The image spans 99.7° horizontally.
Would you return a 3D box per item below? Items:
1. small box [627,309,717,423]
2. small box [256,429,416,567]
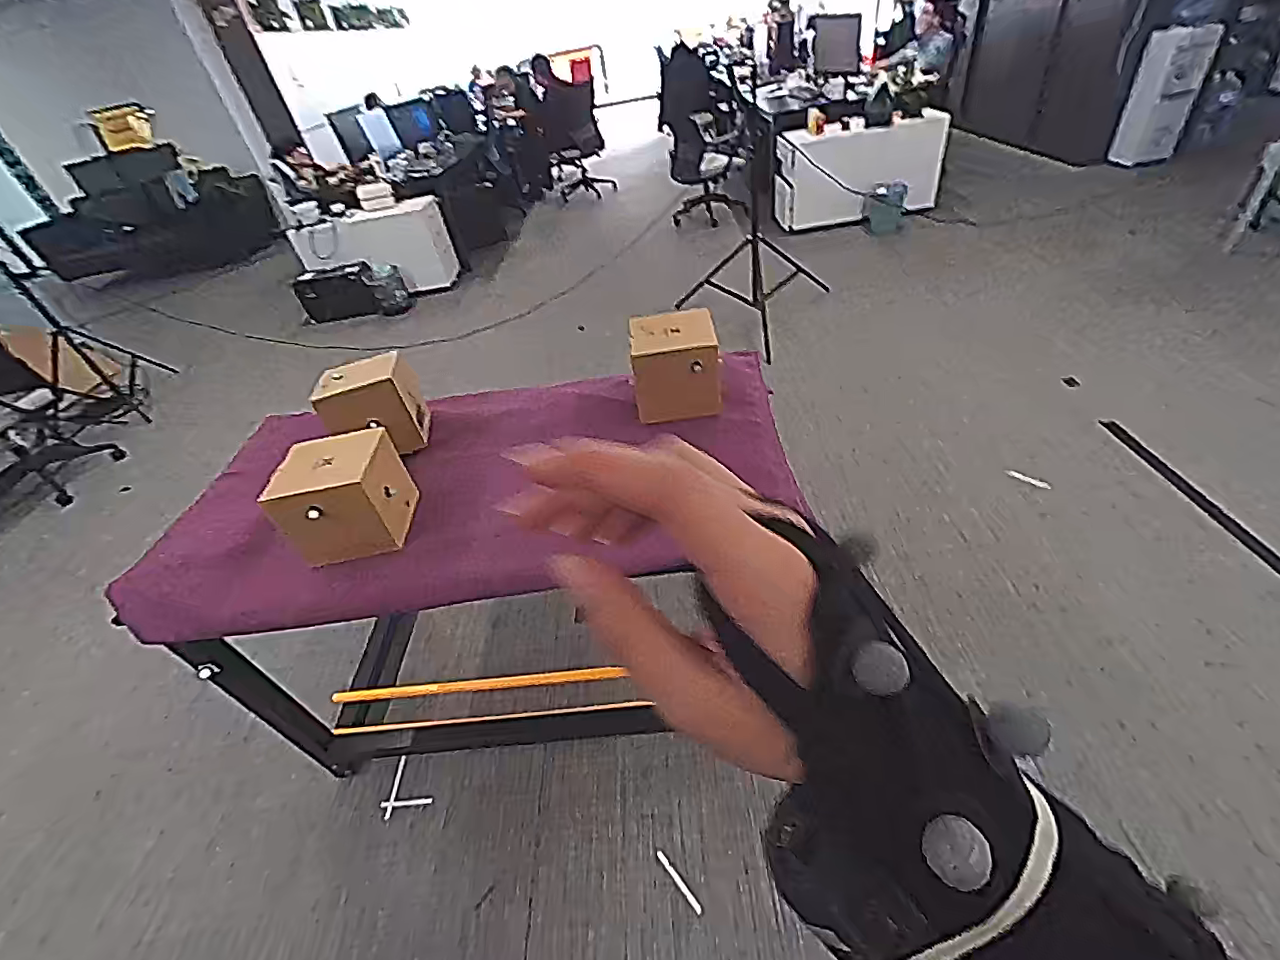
[{"bbox_3d":[0.070,-0.243,1.162,0.179,0.176,0.168,-8,41,4],"label":"small box"},{"bbox_3d":[-0.536,0.034,0.989,0.179,0.176,0.168,-12,39,0],"label":"small box"}]
